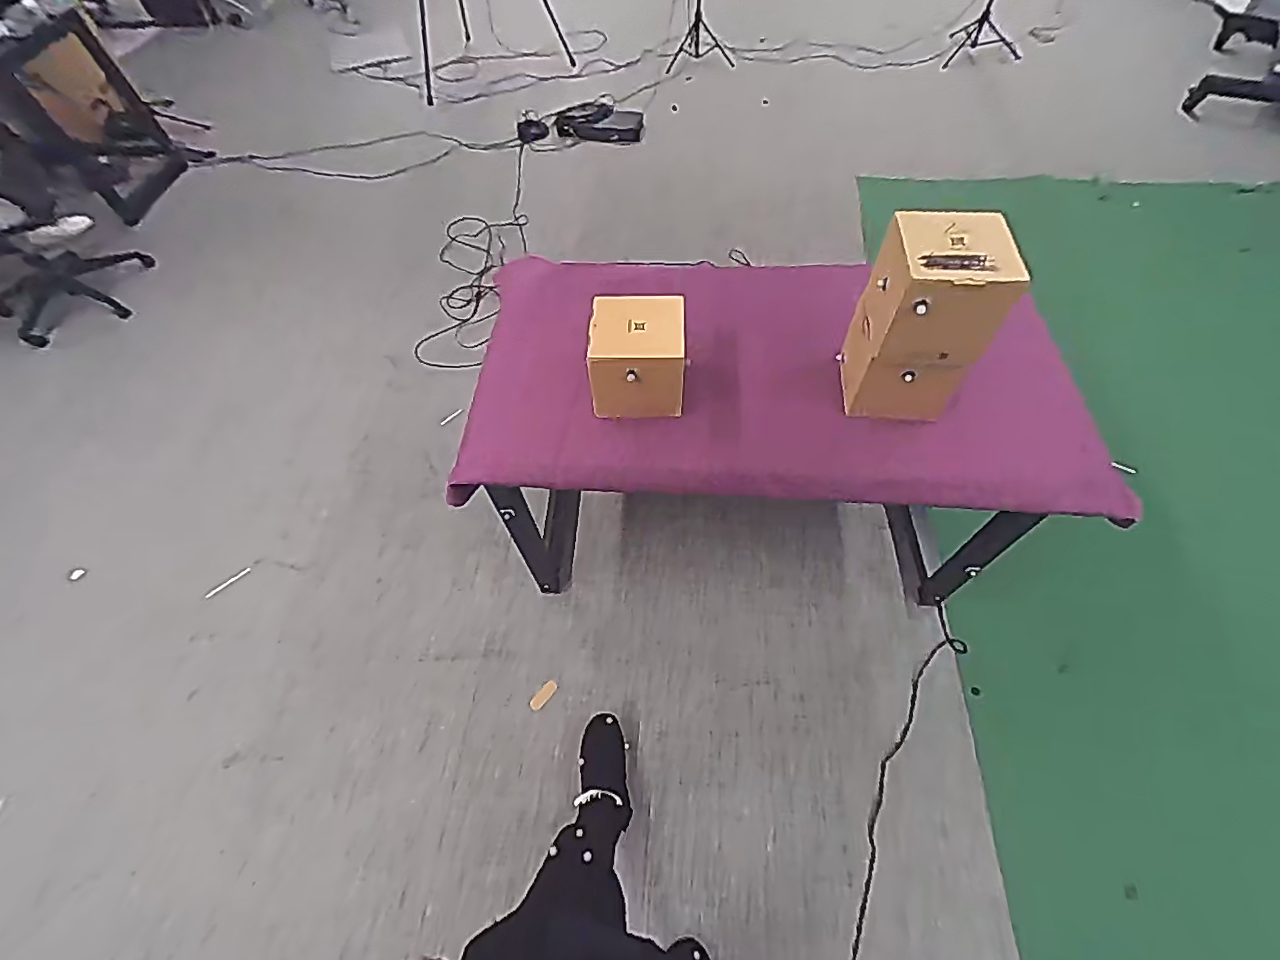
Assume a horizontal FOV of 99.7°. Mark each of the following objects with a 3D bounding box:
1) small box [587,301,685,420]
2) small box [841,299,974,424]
[{"bbox_3d":[-0.002,-0.231,1.066,0.179,0.176,0.168,0,58,3],"label":"small box"},{"bbox_3d":[0.496,-0.223,1.036,0.179,0.176,0.168,4,58,5],"label":"small box"}]
